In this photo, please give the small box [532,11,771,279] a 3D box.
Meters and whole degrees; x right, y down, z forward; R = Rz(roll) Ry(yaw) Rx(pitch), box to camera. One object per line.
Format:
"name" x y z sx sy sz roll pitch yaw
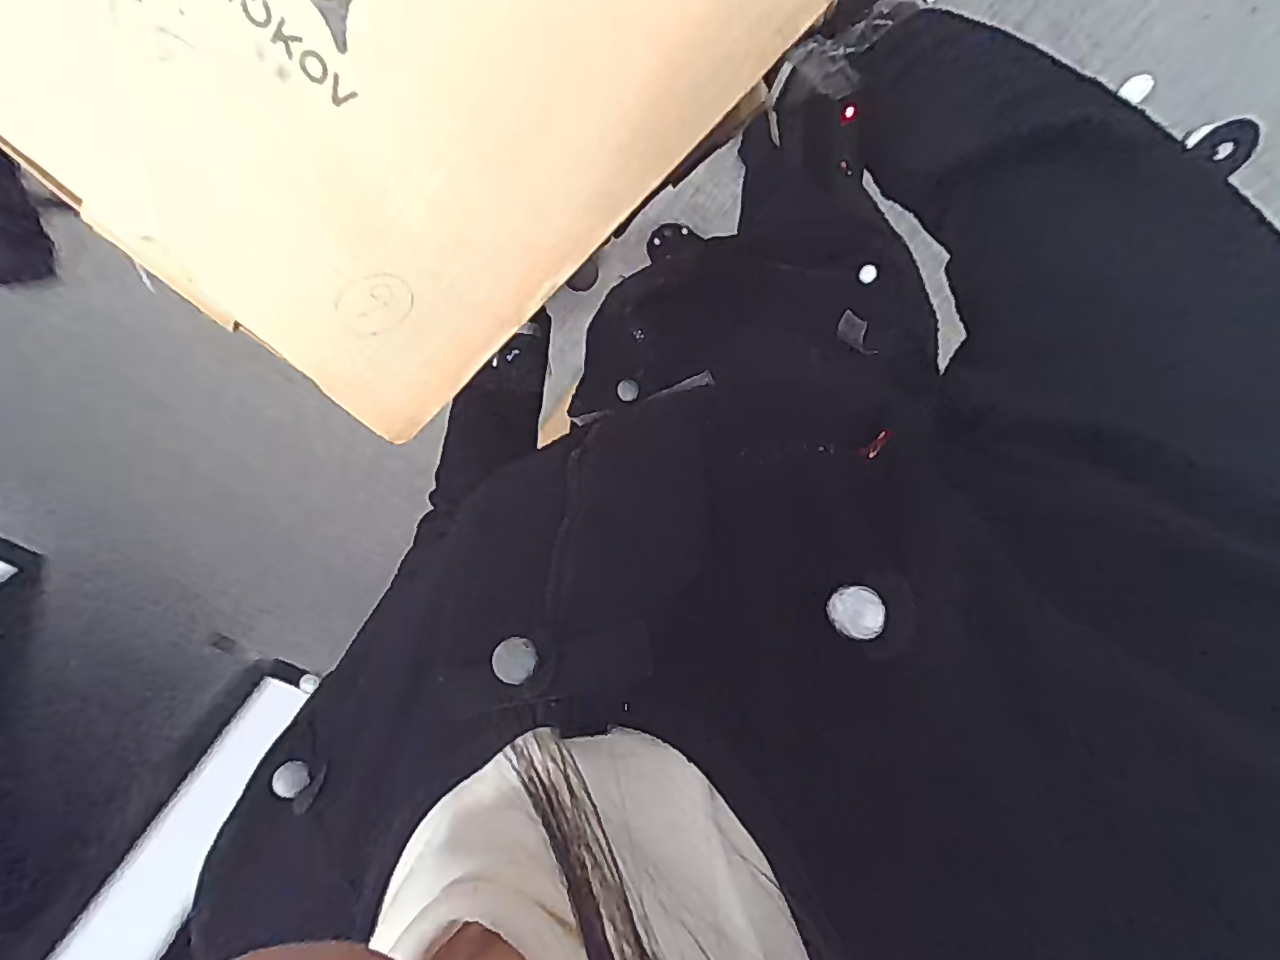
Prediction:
"small box" -0.046 -0.261 0.319 0.168 0.176 0.179 -33 119 24
